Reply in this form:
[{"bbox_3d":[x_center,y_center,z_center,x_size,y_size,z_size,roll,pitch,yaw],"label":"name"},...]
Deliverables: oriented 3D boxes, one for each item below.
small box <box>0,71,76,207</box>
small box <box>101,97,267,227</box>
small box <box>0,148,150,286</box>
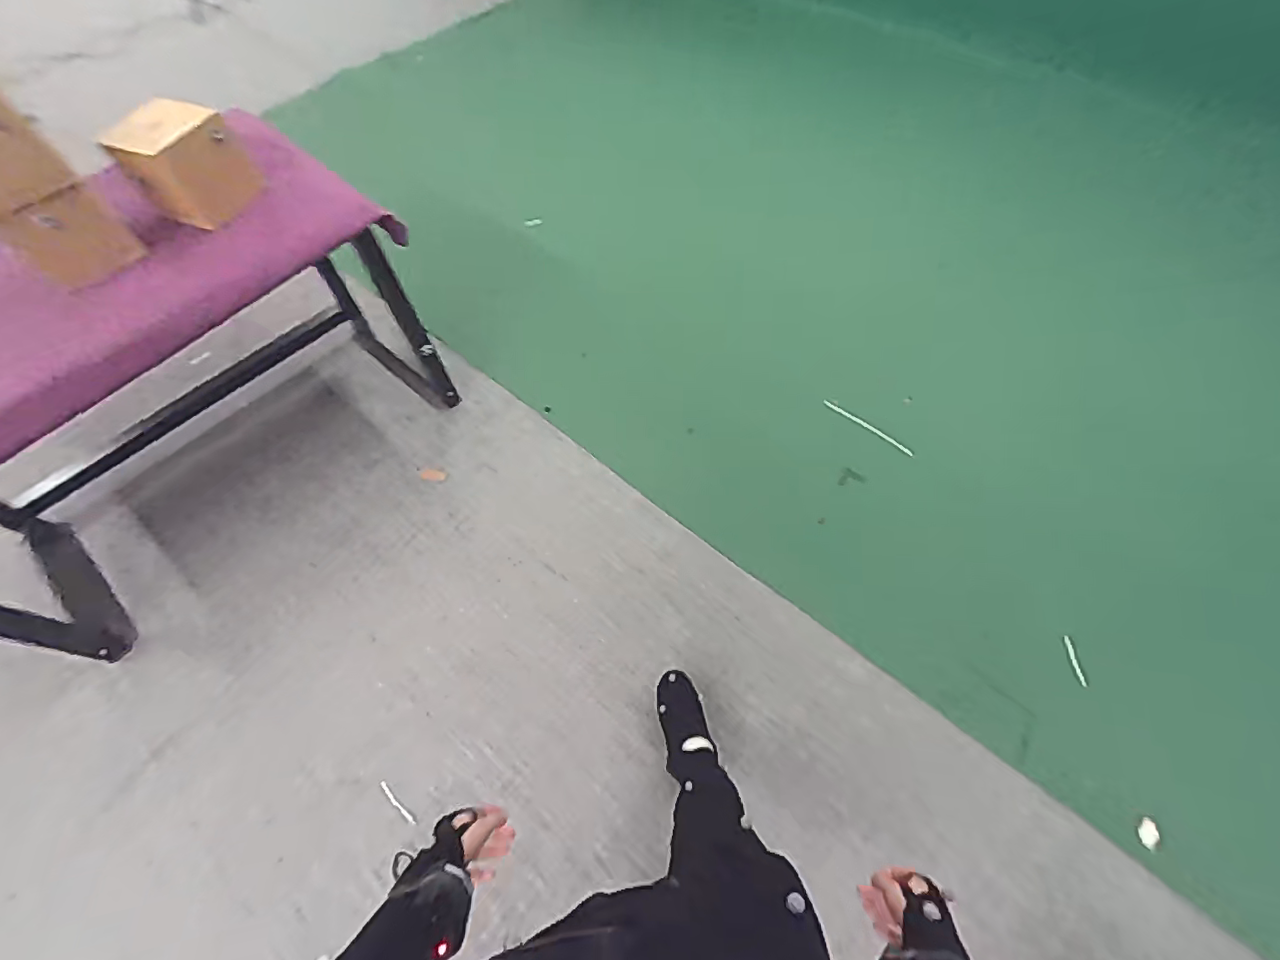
[{"bbox_3d":[-1.138,-0.602,0.929,0.179,0.176,0.168,-39,67,-19],"label":"small box"},{"bbox_3d":[-0.961,-0.678,1.160,0.168,0.176,0.179,19,62,12],"label":"small box"},{"bbox_3d":[-1.147,-0.521,1.072,0.179,0.176,0.168,-39,67,-20],"label":"small box"}]
